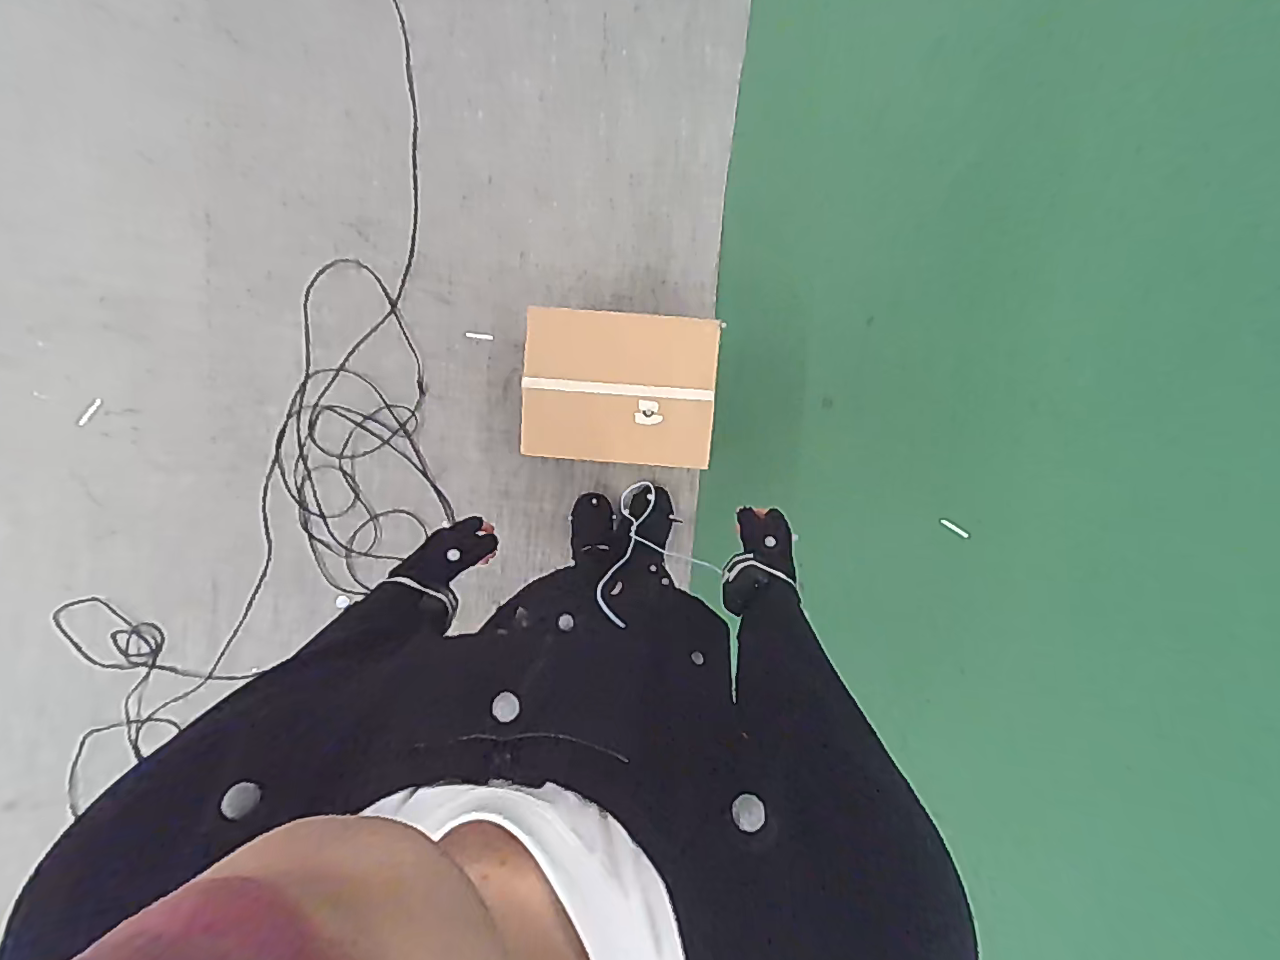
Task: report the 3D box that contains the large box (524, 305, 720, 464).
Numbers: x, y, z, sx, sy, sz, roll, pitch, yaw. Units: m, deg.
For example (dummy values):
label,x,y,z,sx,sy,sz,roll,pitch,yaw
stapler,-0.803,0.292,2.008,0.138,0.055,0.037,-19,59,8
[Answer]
label,x,y,z,sx,sy,sz,roll,pitch,yaw
large box,-0.042,-0.212,1.277,0.408,0.320,0.320,4,97,0
